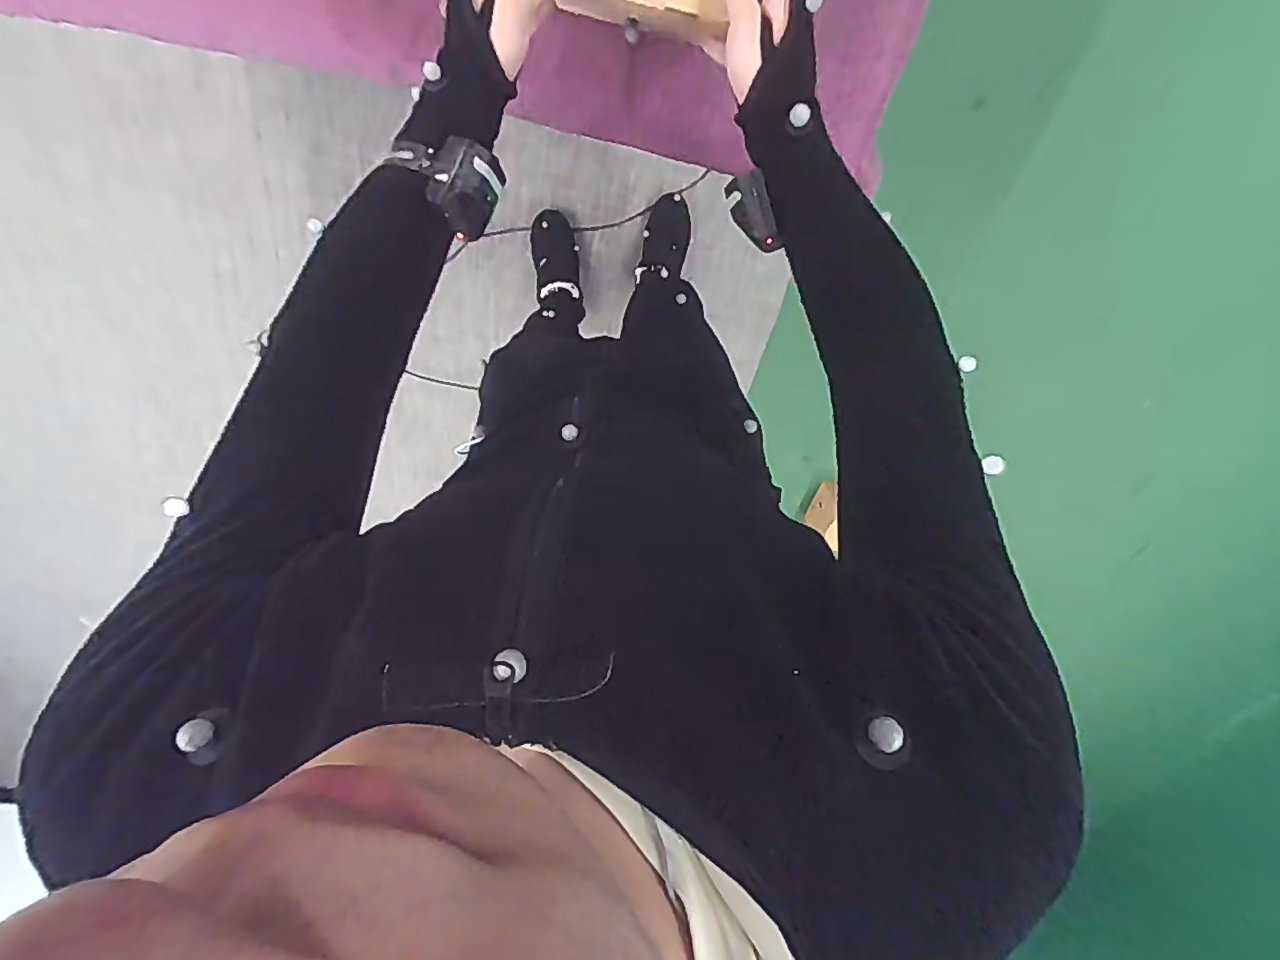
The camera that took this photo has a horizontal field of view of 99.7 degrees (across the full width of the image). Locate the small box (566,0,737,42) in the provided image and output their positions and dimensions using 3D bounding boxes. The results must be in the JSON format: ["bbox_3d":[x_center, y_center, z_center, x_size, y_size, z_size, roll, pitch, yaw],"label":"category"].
[{"bbox_3d":[0.012,-0.506,0.459,0.168,0.176,0.179,9,124,-8],"label":"small box"}]

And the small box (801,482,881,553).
[{"bbox_3d":[0.681,0.124,1.852,0.179,0.176,0.168,11,125,-9],"label":"small box"}]
